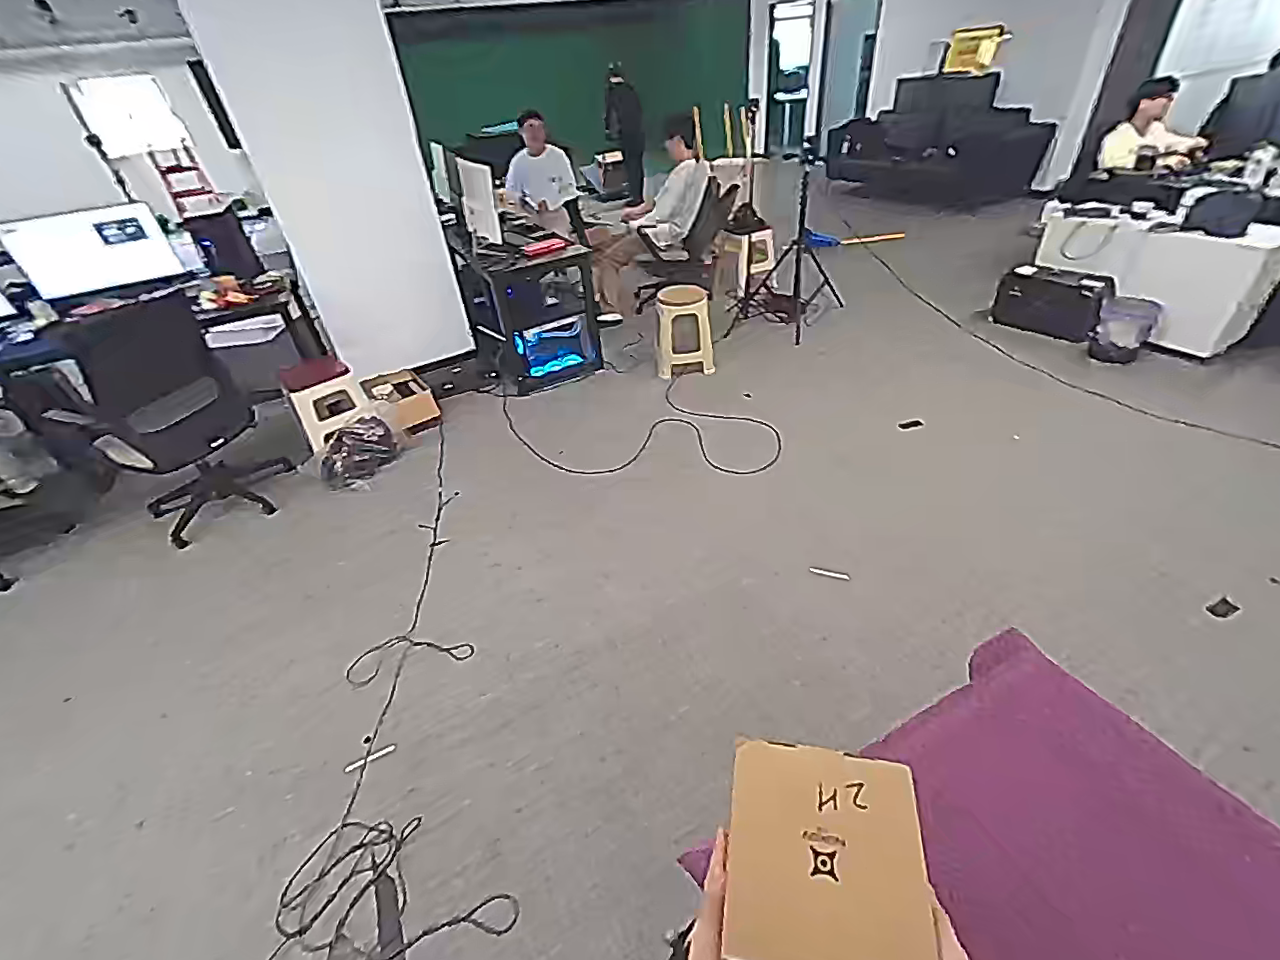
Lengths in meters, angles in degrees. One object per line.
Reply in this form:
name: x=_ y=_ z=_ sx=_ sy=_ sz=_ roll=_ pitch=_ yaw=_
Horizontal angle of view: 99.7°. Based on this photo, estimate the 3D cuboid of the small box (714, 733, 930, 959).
small box: x=0.161 y=0.378 z=0.525 sx=0.168 sy=0.176 sz=0.179 roll=5 pitch=44 yaw=10
